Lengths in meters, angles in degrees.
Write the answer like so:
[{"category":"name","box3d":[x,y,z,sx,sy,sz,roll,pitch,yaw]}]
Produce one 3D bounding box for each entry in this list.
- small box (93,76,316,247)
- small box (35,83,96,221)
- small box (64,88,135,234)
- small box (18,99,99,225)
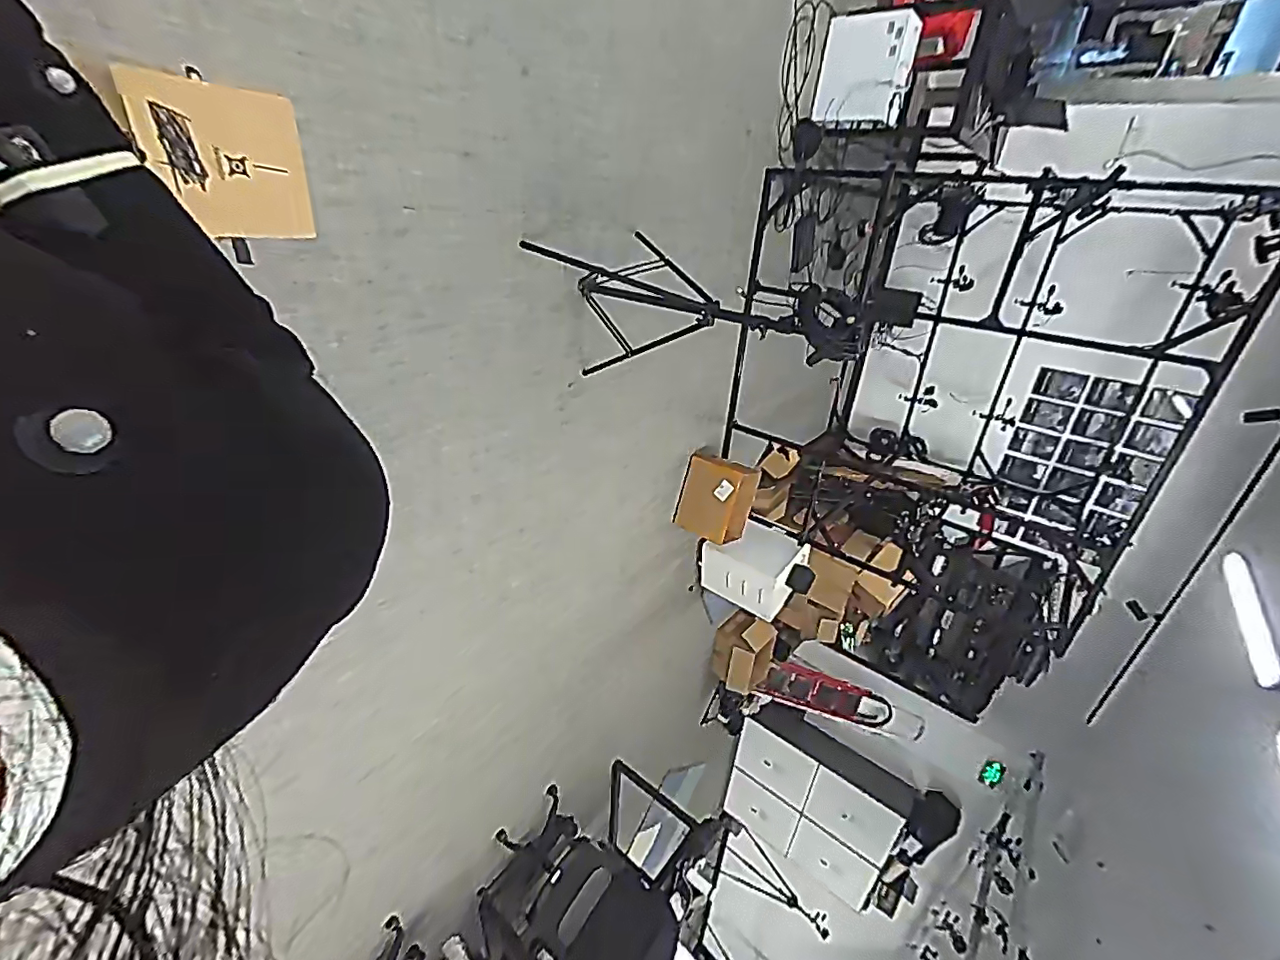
[{"category":"small box","box3d":[-0.566,-0.401,0.706,0.179,0.176,0.168,-27,130,-47]},{"category":"small box","box3d":[-0.825,-0.511,0.874,0.168,0.176,0.179,-23,127,-47]},{"category":"small box","box3d":[-0.696,-0.450,0.793,0.179,0.176,0.168,-24,128,-46]},{"category":"small box","box3d":[-0.952,-0.559,0.967,0.168,0.176,0.179,-27,130,-46]}]
